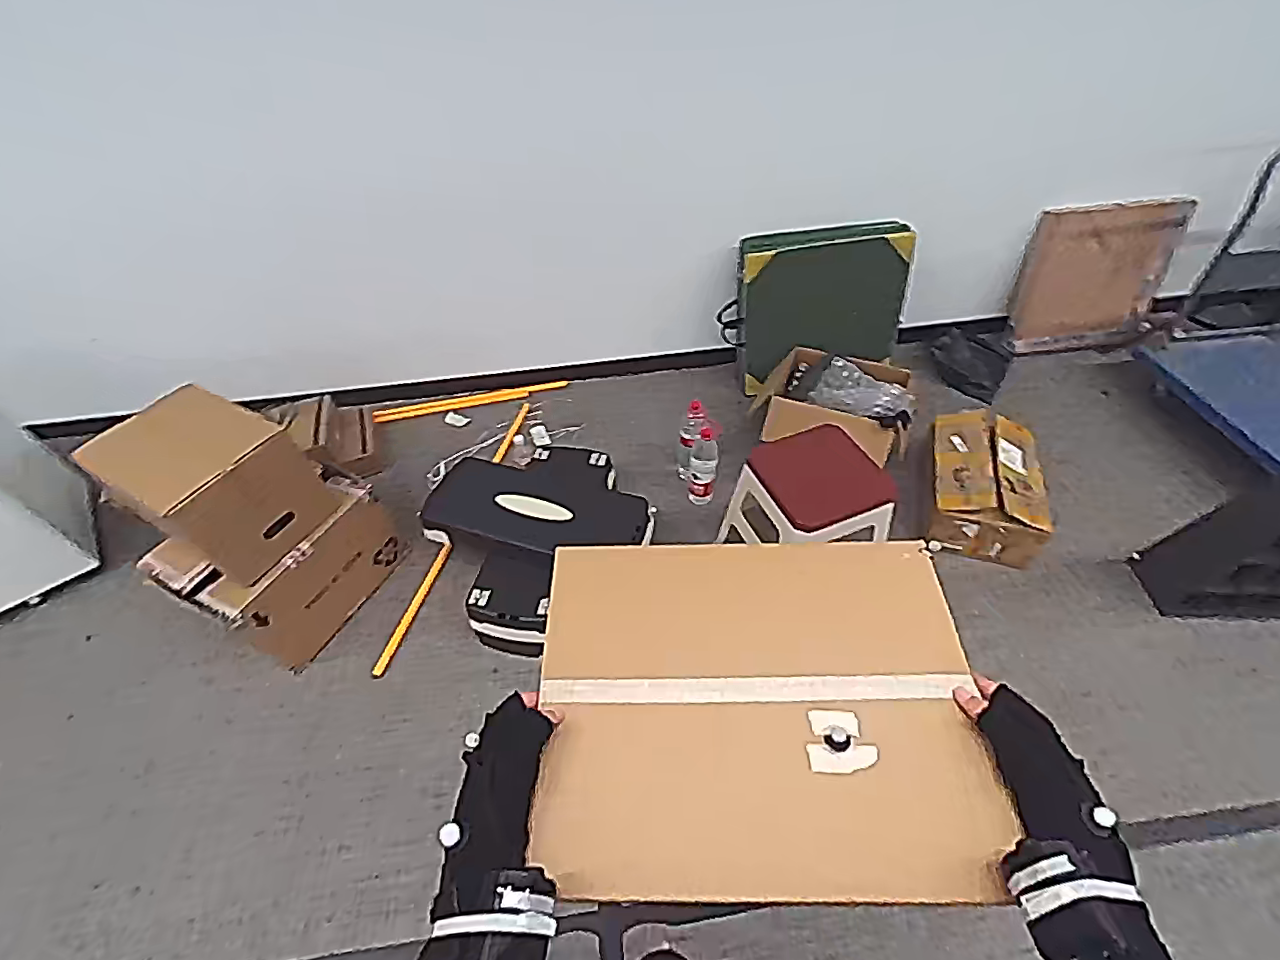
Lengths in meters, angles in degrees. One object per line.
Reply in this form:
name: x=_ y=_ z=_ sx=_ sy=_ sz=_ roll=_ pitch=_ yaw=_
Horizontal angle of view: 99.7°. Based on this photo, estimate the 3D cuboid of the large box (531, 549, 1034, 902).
large box: x=0.114 y=0.292 z=0.631 sx=0.408 sy=0.320 sz=0.320 roll=-1 pitch=53 yaw=3
